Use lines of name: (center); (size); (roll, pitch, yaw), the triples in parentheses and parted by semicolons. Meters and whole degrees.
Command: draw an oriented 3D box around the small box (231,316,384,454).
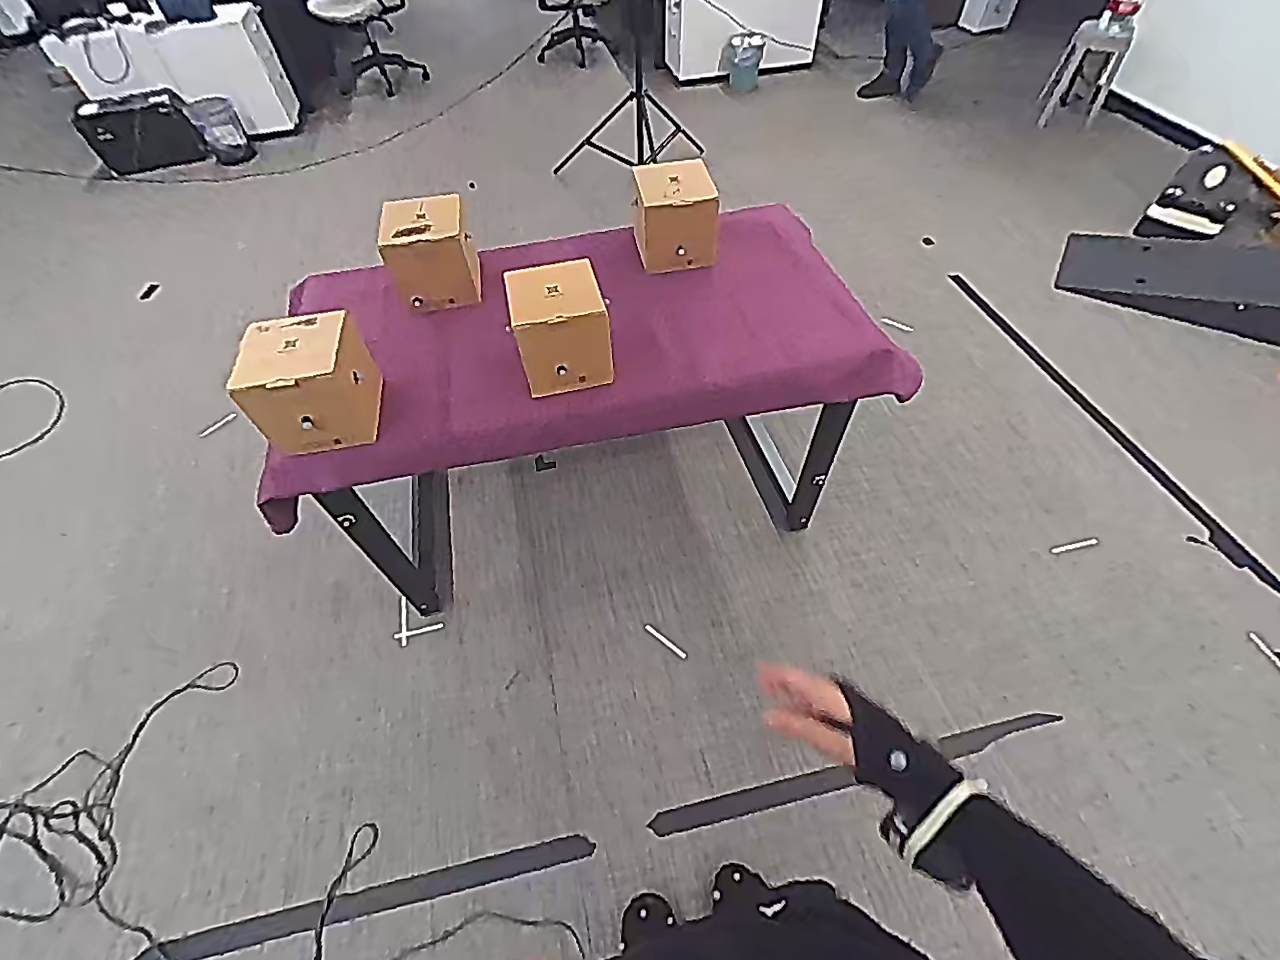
small box: (-0.579, -0.163, 0.970); (0.168, 0.176, 0.179); (-10, 54, -6)

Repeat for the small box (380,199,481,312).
small box: (-0.459, -0.493, 1.208); (0.168, 0.176, 0.179); (-10, 54, -5)

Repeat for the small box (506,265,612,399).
small box: (-0.154, -0.285, 1.046); (0.168, 0.176, 0.179); (-13, 53, -7)

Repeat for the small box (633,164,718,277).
small box: (0.077, -0.606, 1.267); (0.168, 0.176, 0.179); (-10, 56, -3)
